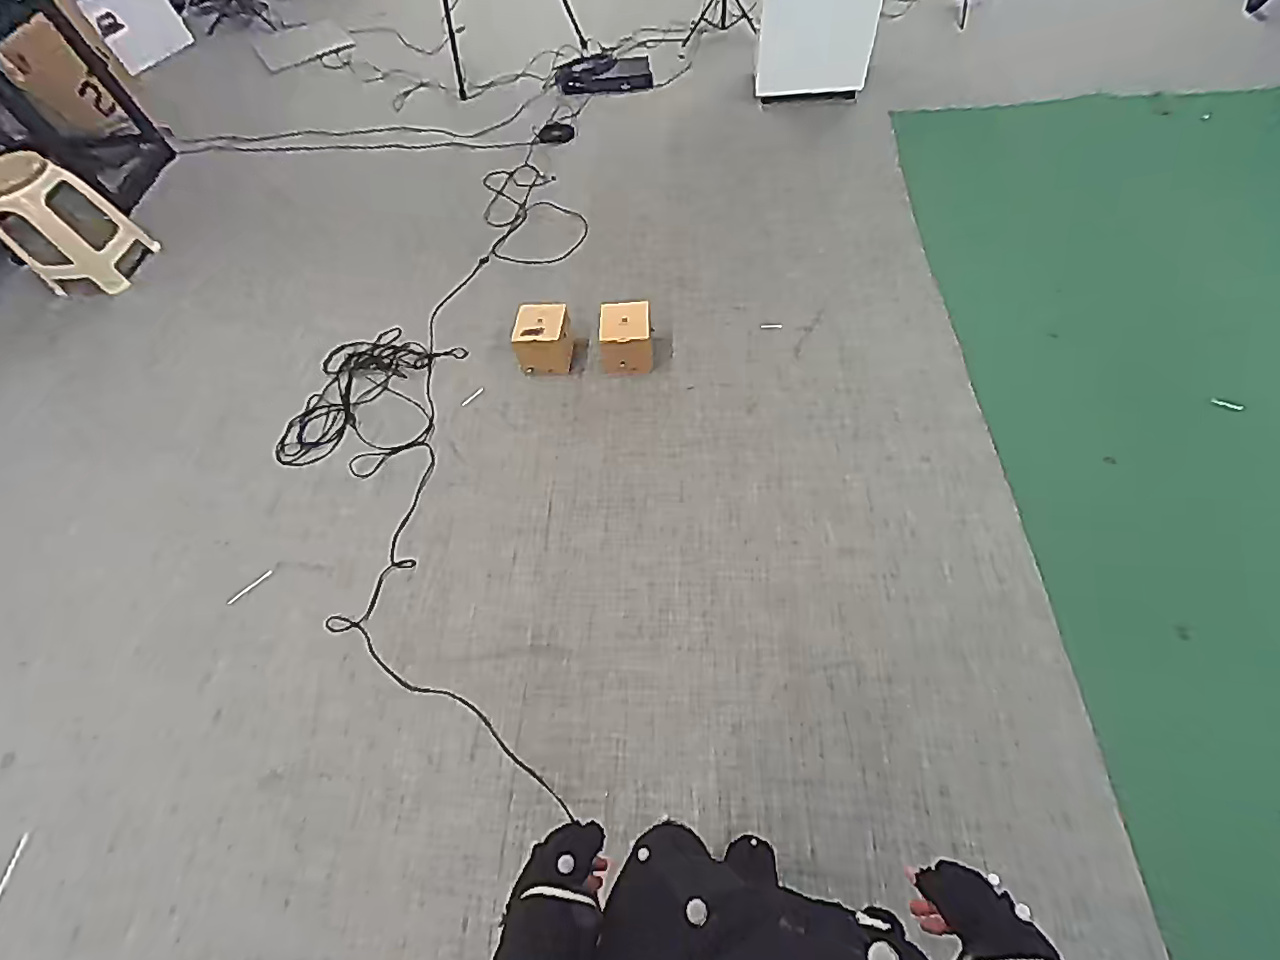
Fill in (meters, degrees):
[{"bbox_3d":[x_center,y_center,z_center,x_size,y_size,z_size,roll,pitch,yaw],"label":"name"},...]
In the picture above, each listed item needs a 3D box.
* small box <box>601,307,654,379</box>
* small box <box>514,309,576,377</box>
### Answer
[{"bbox_3d":[-0.040,-0.474,1.881,0.168,0.176,0.179,-3,60,5],"label":"small box"},{"bbox_3d":[-0.329,-0.480,1.912,0.168,0.176,0.179,2,59,7],"label":"small box"}]
